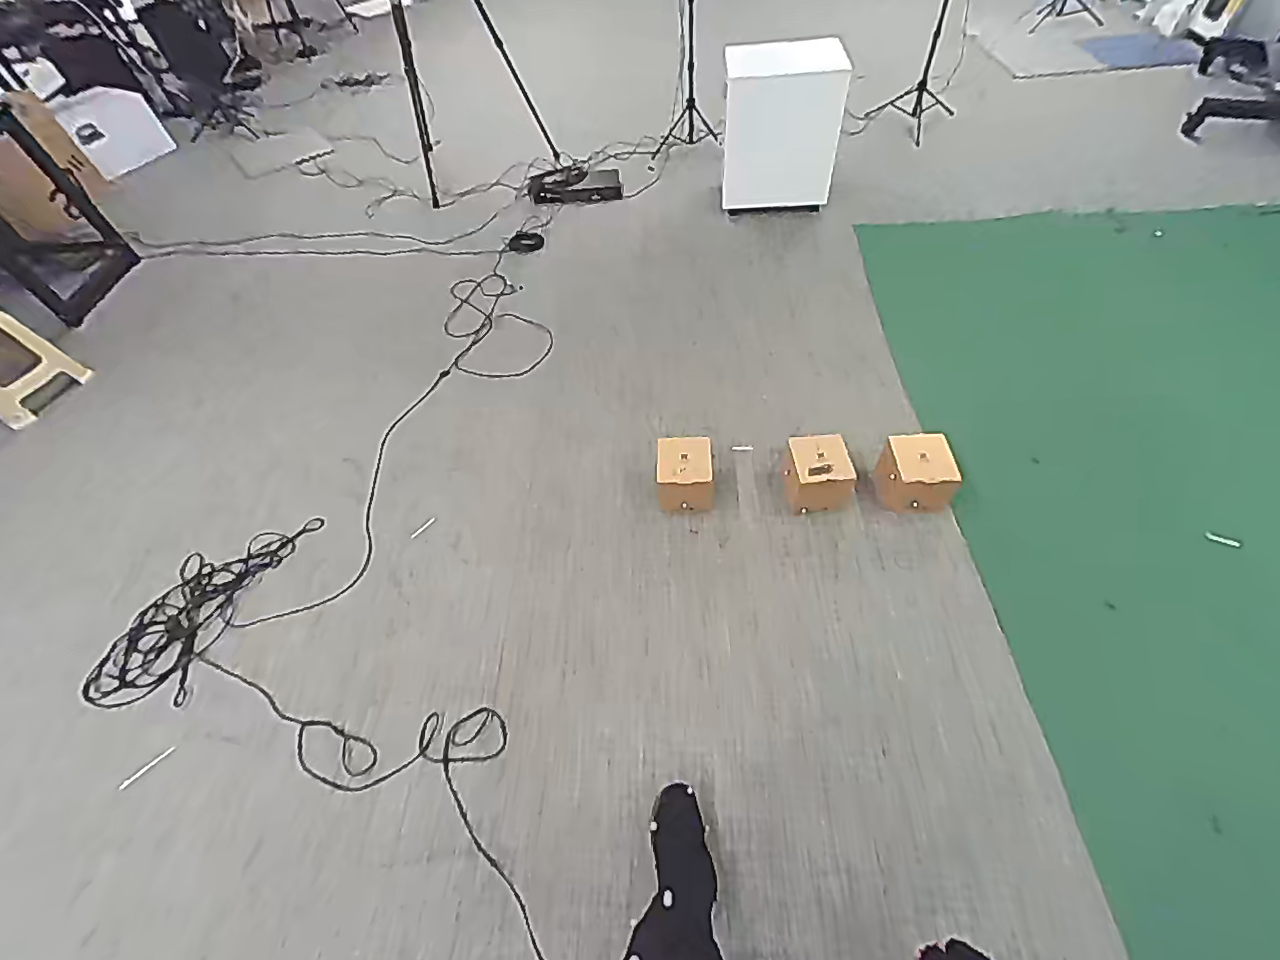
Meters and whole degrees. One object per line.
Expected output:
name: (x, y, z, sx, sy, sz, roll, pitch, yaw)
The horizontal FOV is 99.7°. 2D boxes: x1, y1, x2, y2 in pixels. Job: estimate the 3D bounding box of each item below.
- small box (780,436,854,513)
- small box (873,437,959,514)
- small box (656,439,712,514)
small box: (0.540, -0.010, 1.676, 0.168, 0.176, 0.179, -5, 52, 1)
small box: (0.832, -0.012, 1.653, 0.168, 0.176, 0.179, -2, 53, 4)
small box: (0.139, -0.010, 1.707, 0.168, 0.176, 0.179, -1, 54, 6)
